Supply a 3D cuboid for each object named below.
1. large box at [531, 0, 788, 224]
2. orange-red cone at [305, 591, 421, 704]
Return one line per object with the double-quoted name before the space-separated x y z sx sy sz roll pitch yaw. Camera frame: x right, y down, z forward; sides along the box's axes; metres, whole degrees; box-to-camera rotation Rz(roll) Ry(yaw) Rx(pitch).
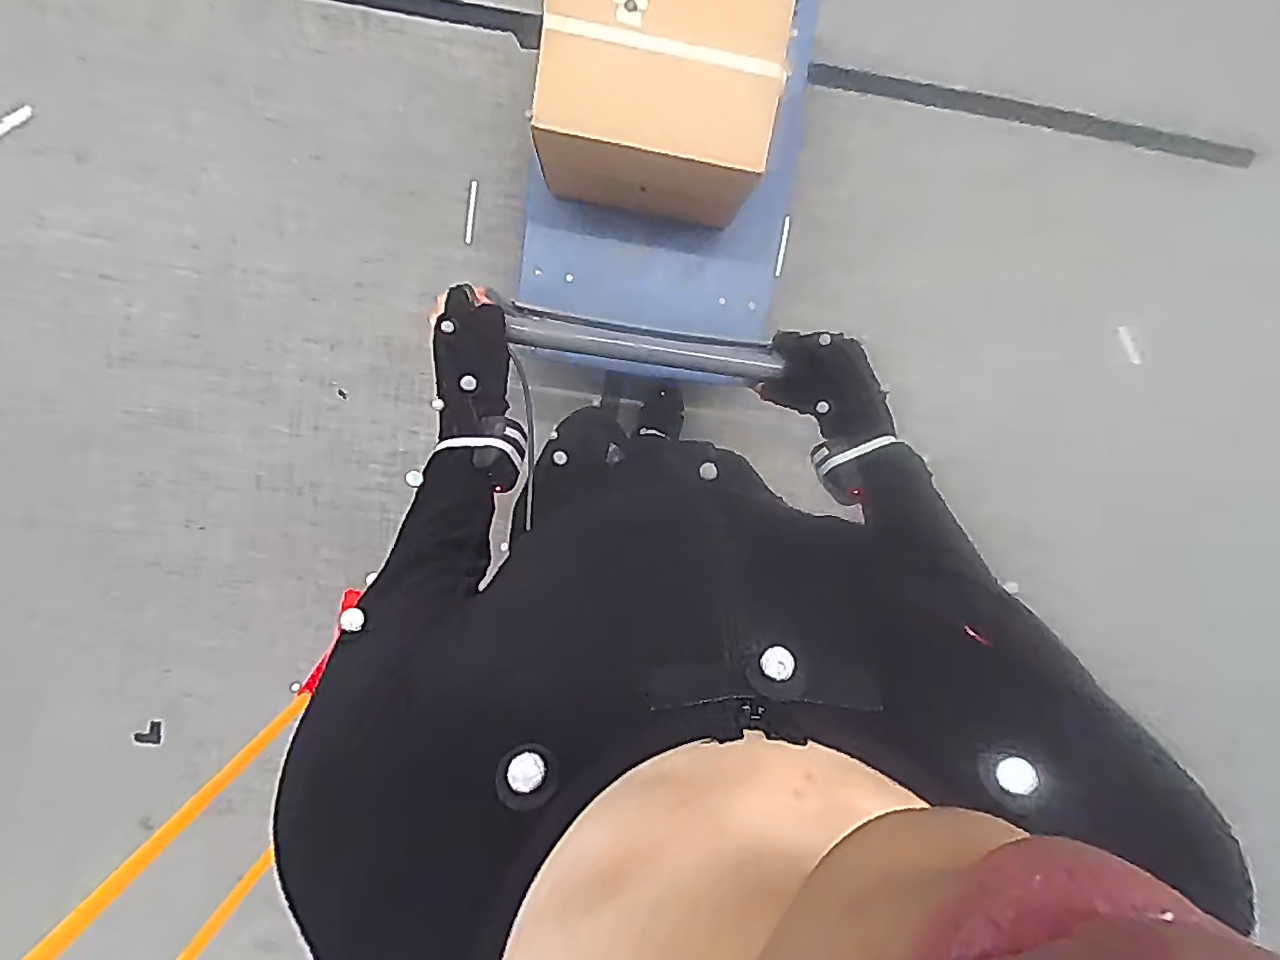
"large box" 0.028 -0.727 1.047 0.408 0.320 0.320 9 98 -4
"orange-red cone" -0.709 0.437 1.324 0.198 0.360 0.199 15 96 -6
